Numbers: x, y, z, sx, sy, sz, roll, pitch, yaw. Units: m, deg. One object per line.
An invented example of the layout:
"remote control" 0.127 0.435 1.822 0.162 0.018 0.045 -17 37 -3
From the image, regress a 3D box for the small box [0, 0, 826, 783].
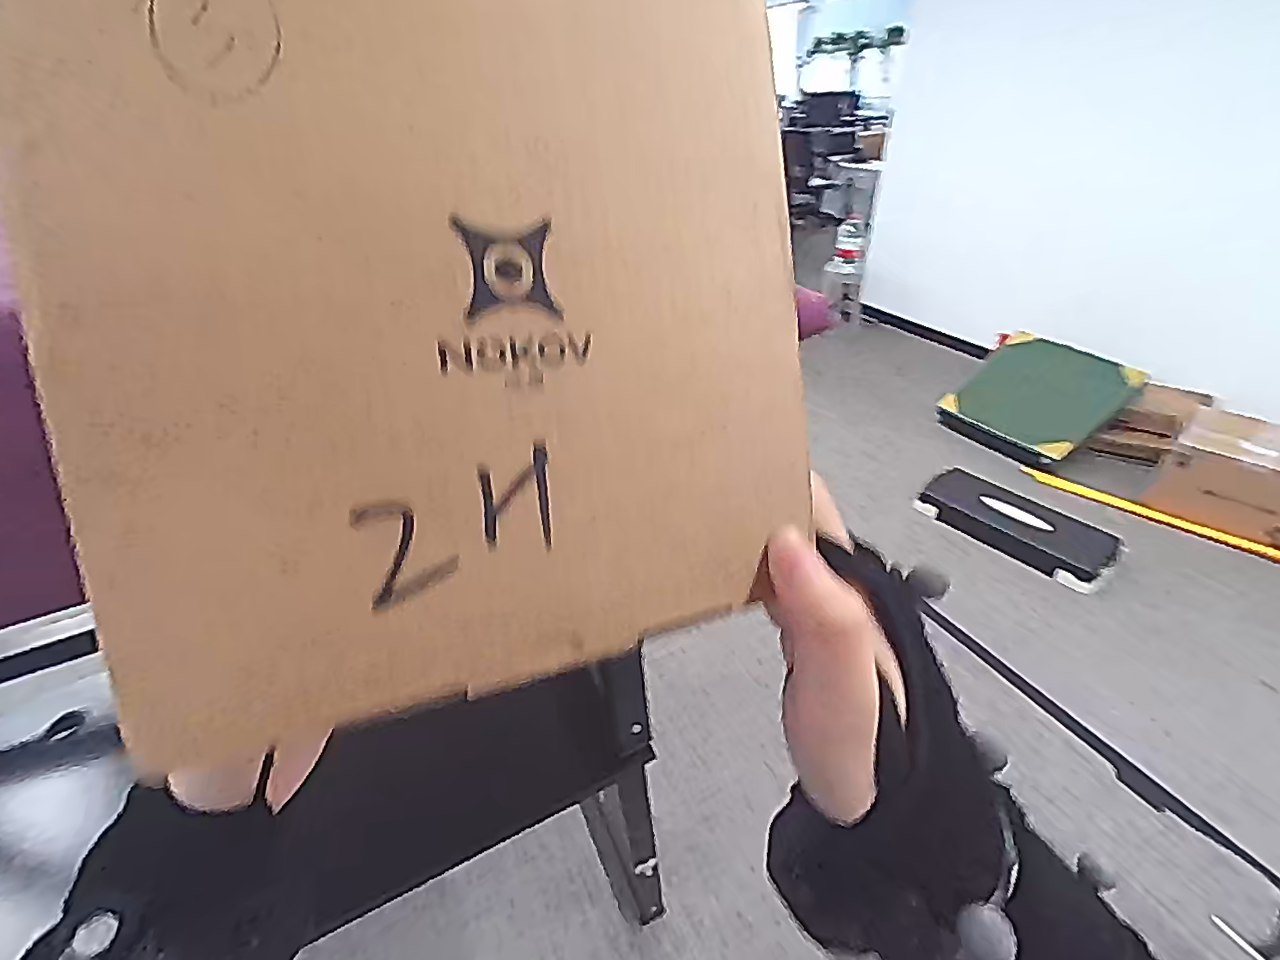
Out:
"small box" -0.059 -0.043 0.193 0.168 0.179 0.176 -8 6 -23
